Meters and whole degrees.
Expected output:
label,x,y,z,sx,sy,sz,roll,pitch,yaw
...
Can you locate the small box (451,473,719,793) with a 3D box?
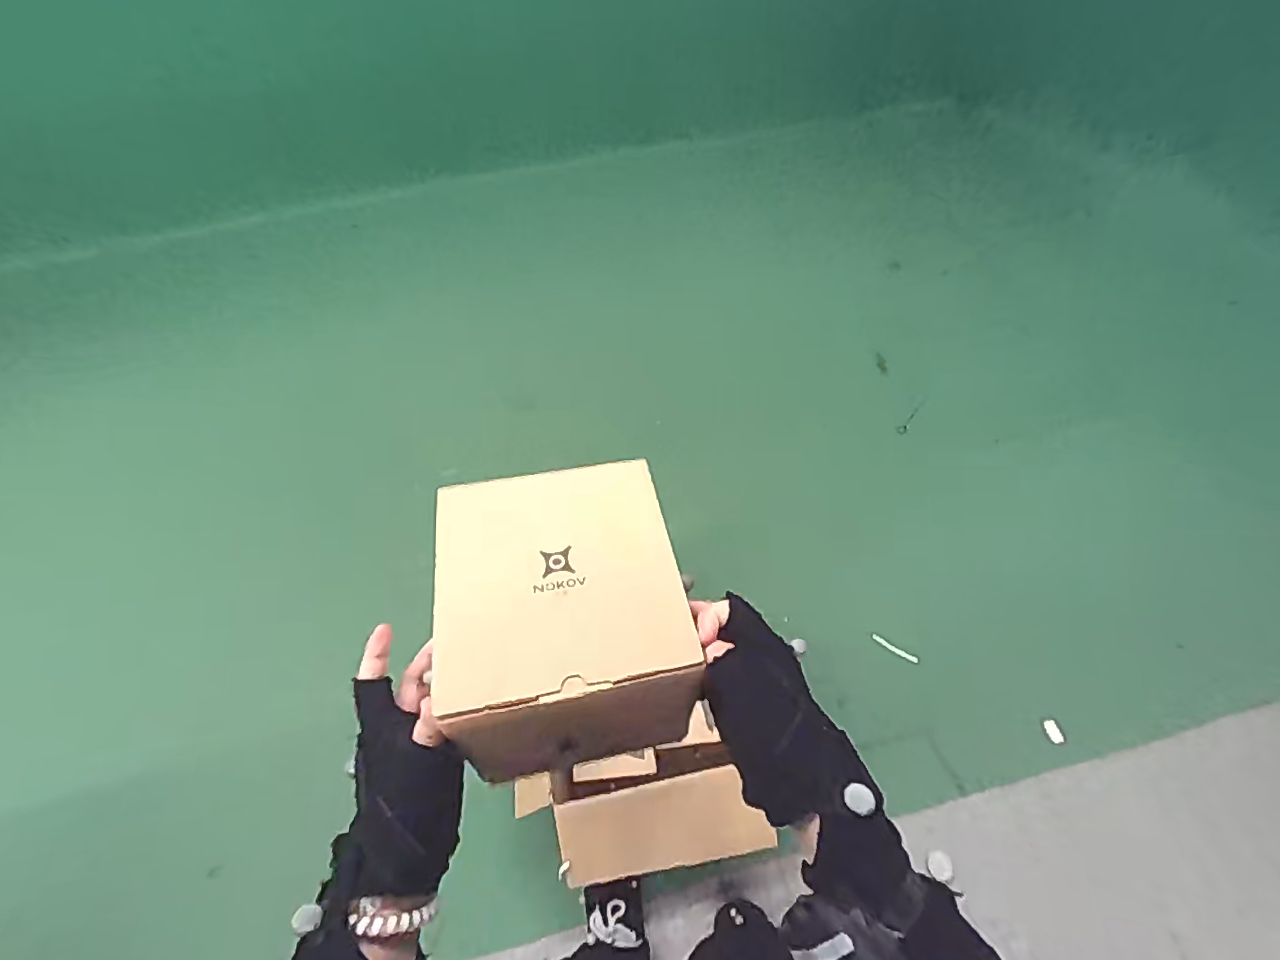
label,x,y,z,sx,sy,sz,roll,pitch,yaw
small box,-0.052,0.121,0.437,0.168,0.176,0.179,-9,49,-11
